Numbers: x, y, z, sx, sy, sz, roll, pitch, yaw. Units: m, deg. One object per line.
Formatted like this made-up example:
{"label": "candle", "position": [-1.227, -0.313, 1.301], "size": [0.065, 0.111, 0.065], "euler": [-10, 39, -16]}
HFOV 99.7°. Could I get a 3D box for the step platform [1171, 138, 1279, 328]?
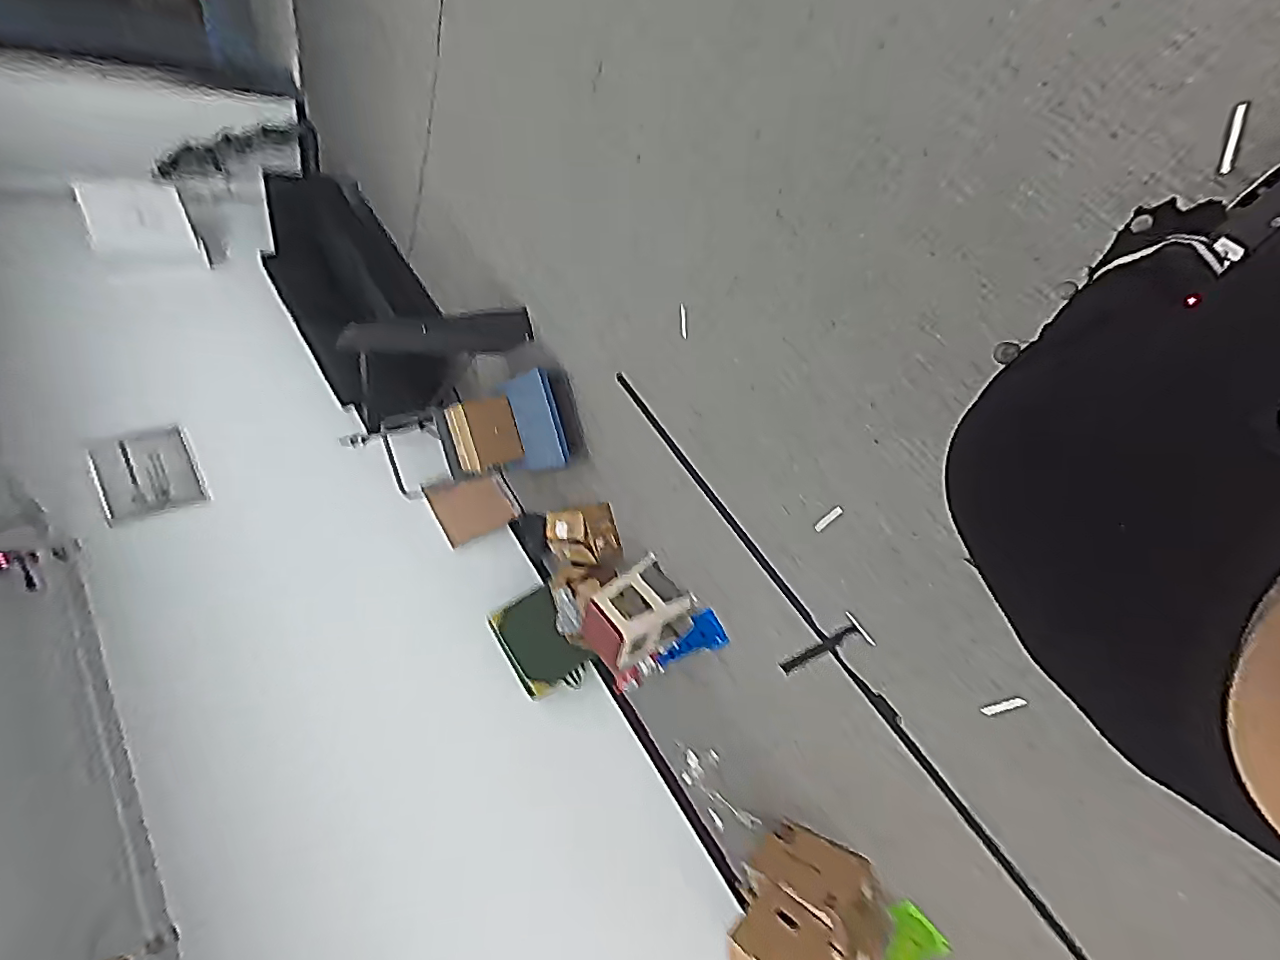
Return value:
{"label": "step platform", "position": [1.306, -0.316, 0.890], "size": [0.684, 0.204, 0.286], "euler": [54, 141, 22]}
